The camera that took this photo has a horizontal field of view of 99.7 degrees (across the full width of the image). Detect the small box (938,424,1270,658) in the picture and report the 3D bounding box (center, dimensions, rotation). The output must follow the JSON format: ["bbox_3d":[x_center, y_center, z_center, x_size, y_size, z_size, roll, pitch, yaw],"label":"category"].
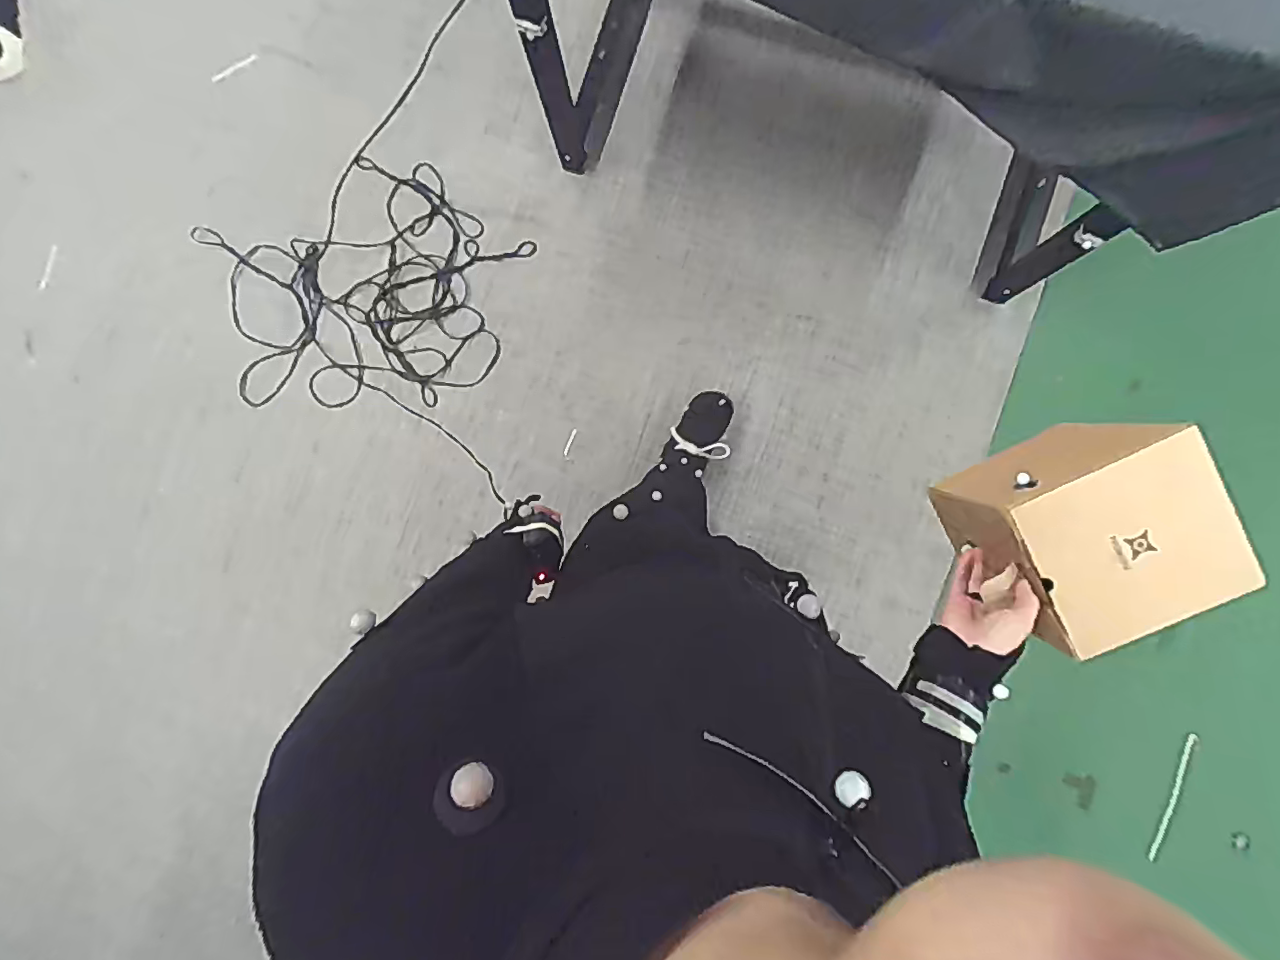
[{"bbox_3d":[0.460,0.048,0.569,0.179,0.176,0.168,-27,94,8],"label":"small box"}]
